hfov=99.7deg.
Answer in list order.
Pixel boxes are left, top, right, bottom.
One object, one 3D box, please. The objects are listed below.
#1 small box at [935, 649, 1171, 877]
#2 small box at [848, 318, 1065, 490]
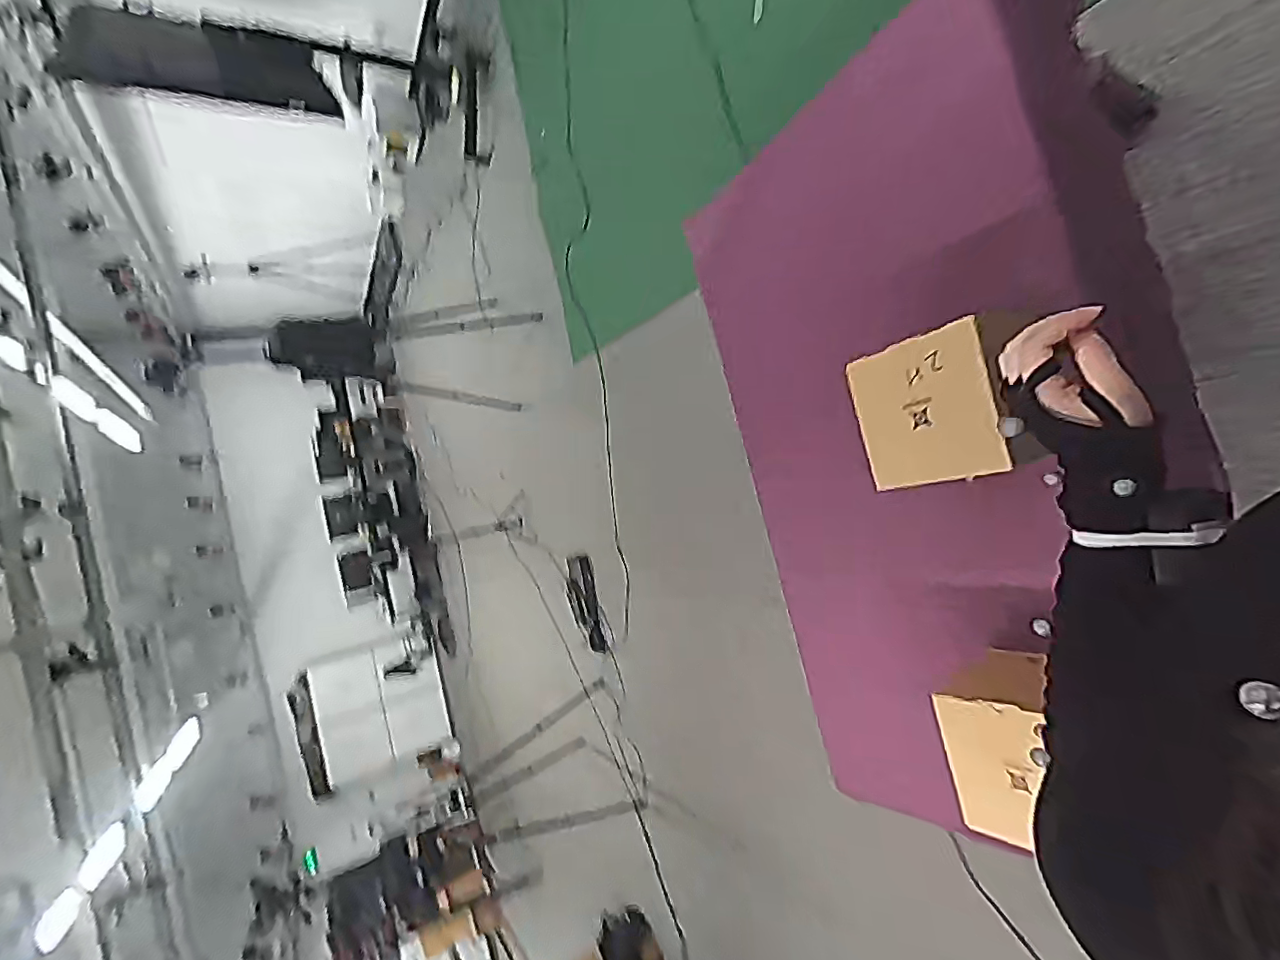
[{"bbox_3d":[0.513,0.331,0.675,0.168,0.176,0.179,-20,83,57],"label":"small box"},{"bbox_3d":[0.405,-0.096,0.695,0.168,0.176,0.179,-16,87,57],"label":"small box"}]
